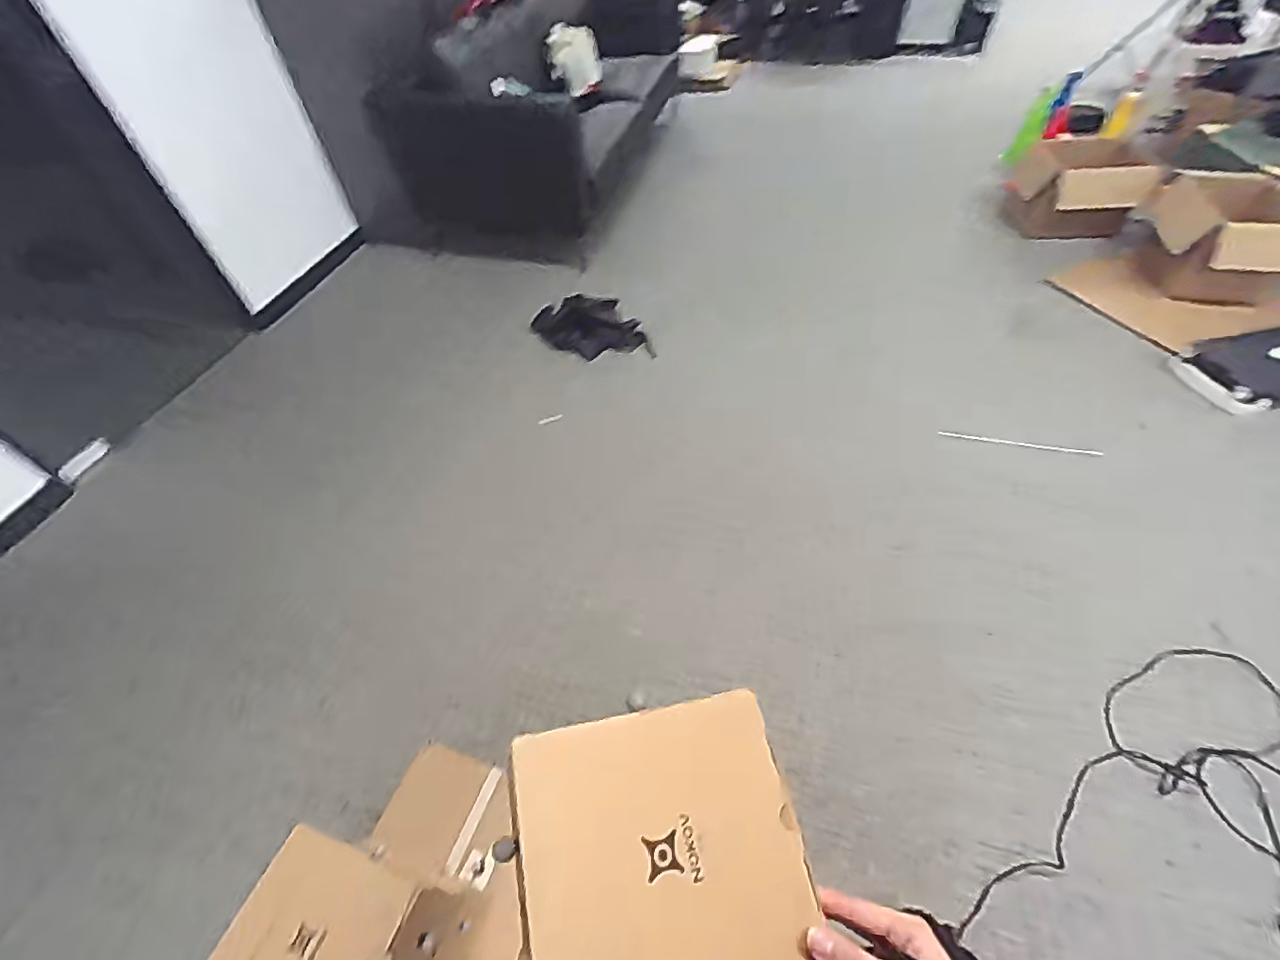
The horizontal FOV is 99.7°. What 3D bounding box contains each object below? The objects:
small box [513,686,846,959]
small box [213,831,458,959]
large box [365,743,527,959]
[{"bbox_3d":[0.004,0.265,0.390,0.179,0.176,0.168,-4,60,-18],"label":"small box"},{"bbox_3d":[-0.338,0.533,0.614,0.179,0.176,0.168,12,50,16],"label":"small box"},{"bbox_3d":[-0.310,0.760,0.955,0.320,0.320,0.408,14,52,15],"label":"large box"}]
